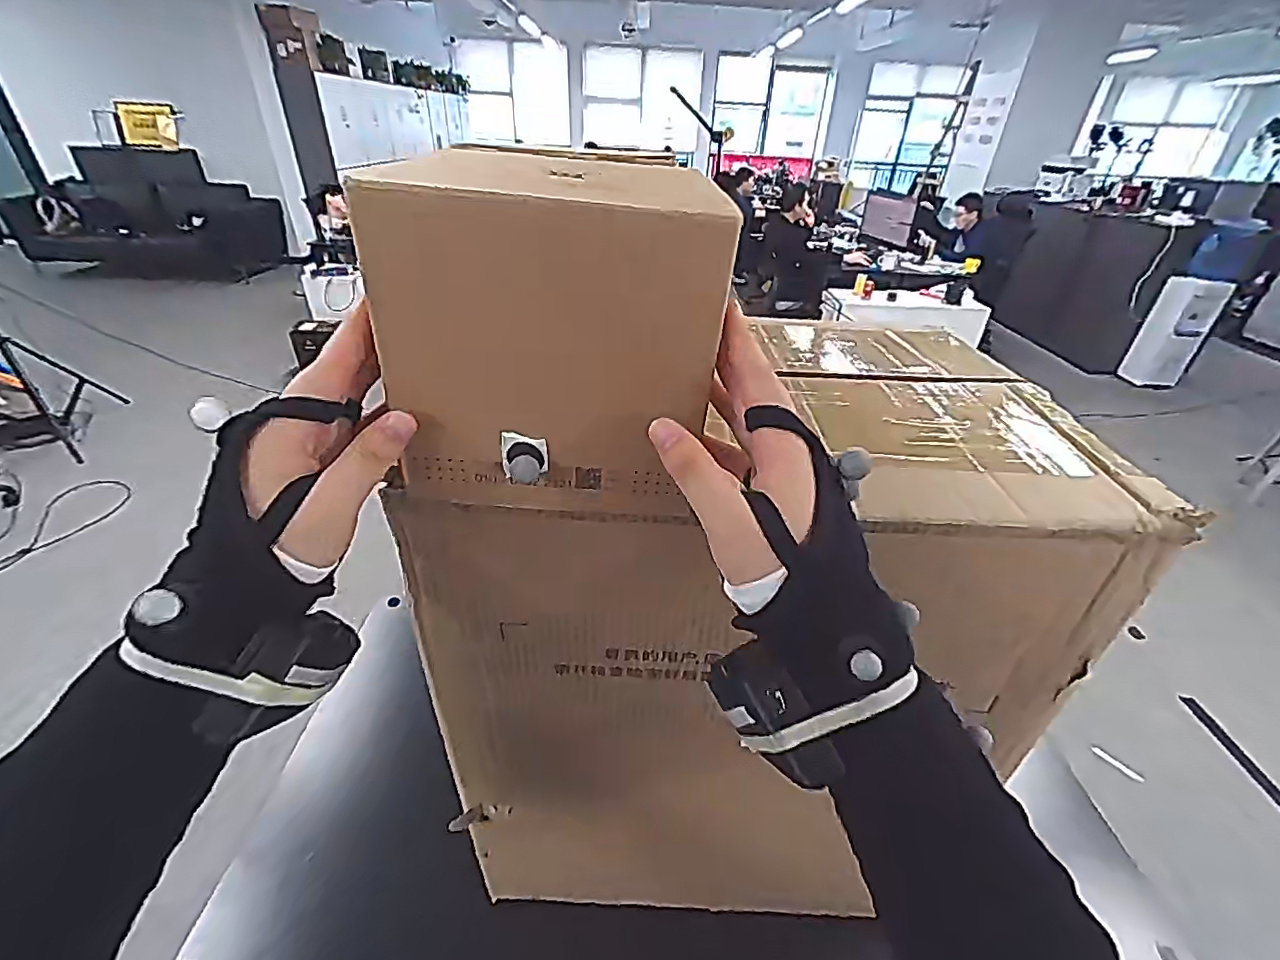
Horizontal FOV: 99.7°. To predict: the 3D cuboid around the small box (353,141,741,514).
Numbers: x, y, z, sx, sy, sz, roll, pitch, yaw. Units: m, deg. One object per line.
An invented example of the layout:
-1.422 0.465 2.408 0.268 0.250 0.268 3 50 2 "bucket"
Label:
-0.047 -0.100 0.338 0.168 0.176 0.179 2 36 -4 "small box"
